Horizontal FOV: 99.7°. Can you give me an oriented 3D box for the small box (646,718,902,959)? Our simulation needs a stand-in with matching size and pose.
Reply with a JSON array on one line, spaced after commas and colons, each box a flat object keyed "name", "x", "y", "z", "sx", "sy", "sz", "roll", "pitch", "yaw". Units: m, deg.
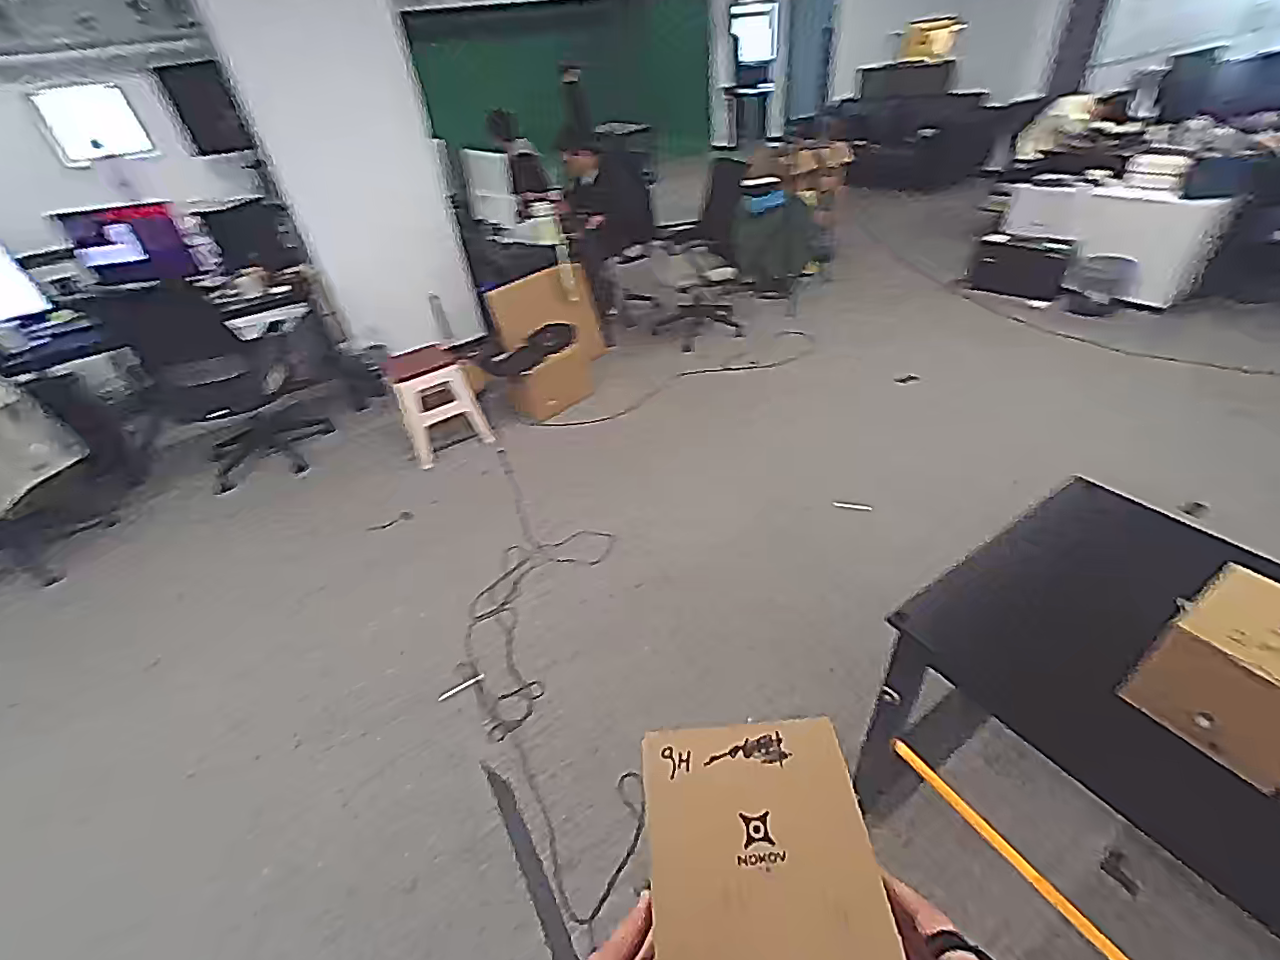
[{"name": "small box", "x": 0.094, "y": 0.326, "z": 0.460, "sx": 0.168, "sy": 0.176, "sz": 0.179, "roll": -4, "pitch": 46, "yaw": 0}]

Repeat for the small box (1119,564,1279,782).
[{"name": "small box", "x": 0.794, "y": 0.250, "z": 0.714, "sx": 0.179, "sy": 0.176, "sz": 0.168, "roll": -25, "pitch": 41, "yaw": -21}]
